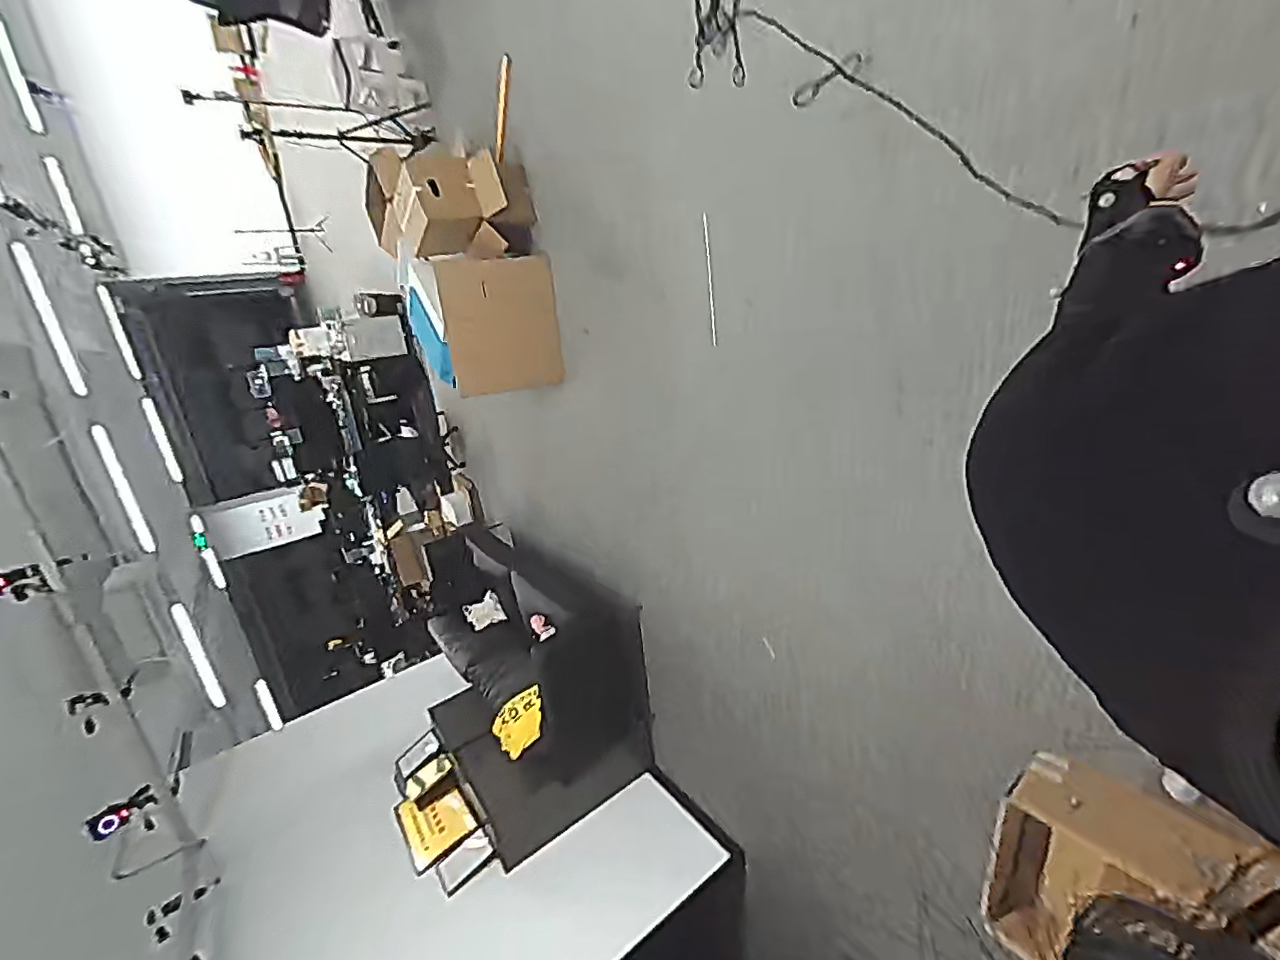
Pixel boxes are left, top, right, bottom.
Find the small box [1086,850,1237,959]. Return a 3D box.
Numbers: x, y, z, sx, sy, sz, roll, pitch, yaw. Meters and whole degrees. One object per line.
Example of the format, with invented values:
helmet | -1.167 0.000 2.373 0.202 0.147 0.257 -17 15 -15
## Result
small box | 0.919 0.813 0.954 0.168 0.176 0.179 1 106 55
